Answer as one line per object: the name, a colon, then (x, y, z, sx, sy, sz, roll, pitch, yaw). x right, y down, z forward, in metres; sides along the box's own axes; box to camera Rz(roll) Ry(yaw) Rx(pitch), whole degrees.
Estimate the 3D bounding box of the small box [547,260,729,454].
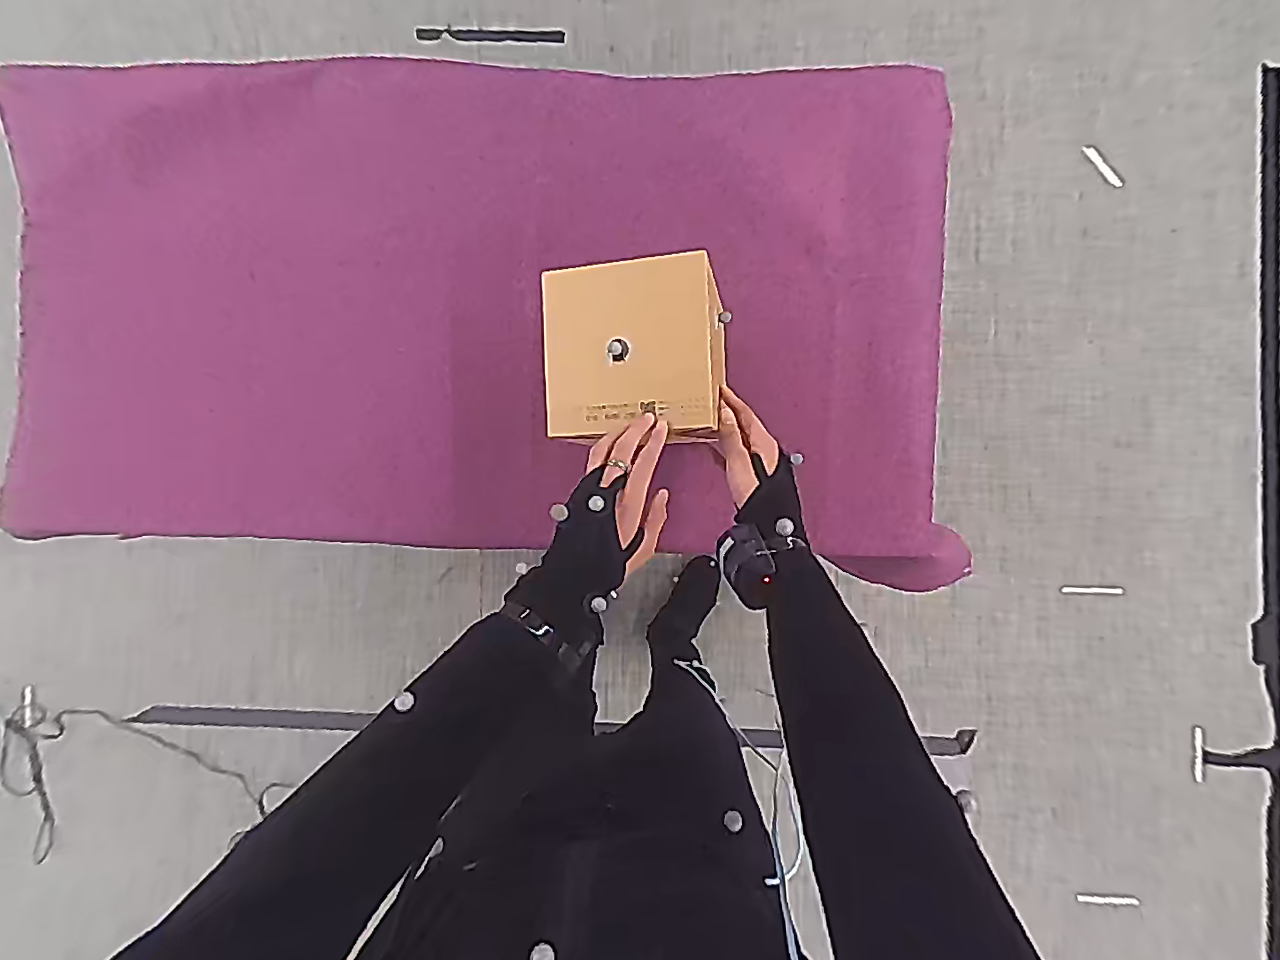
small box: (0.009, -0.120, 0.604, 0.168, 0.179, 0.176, -2, 90, 14)
